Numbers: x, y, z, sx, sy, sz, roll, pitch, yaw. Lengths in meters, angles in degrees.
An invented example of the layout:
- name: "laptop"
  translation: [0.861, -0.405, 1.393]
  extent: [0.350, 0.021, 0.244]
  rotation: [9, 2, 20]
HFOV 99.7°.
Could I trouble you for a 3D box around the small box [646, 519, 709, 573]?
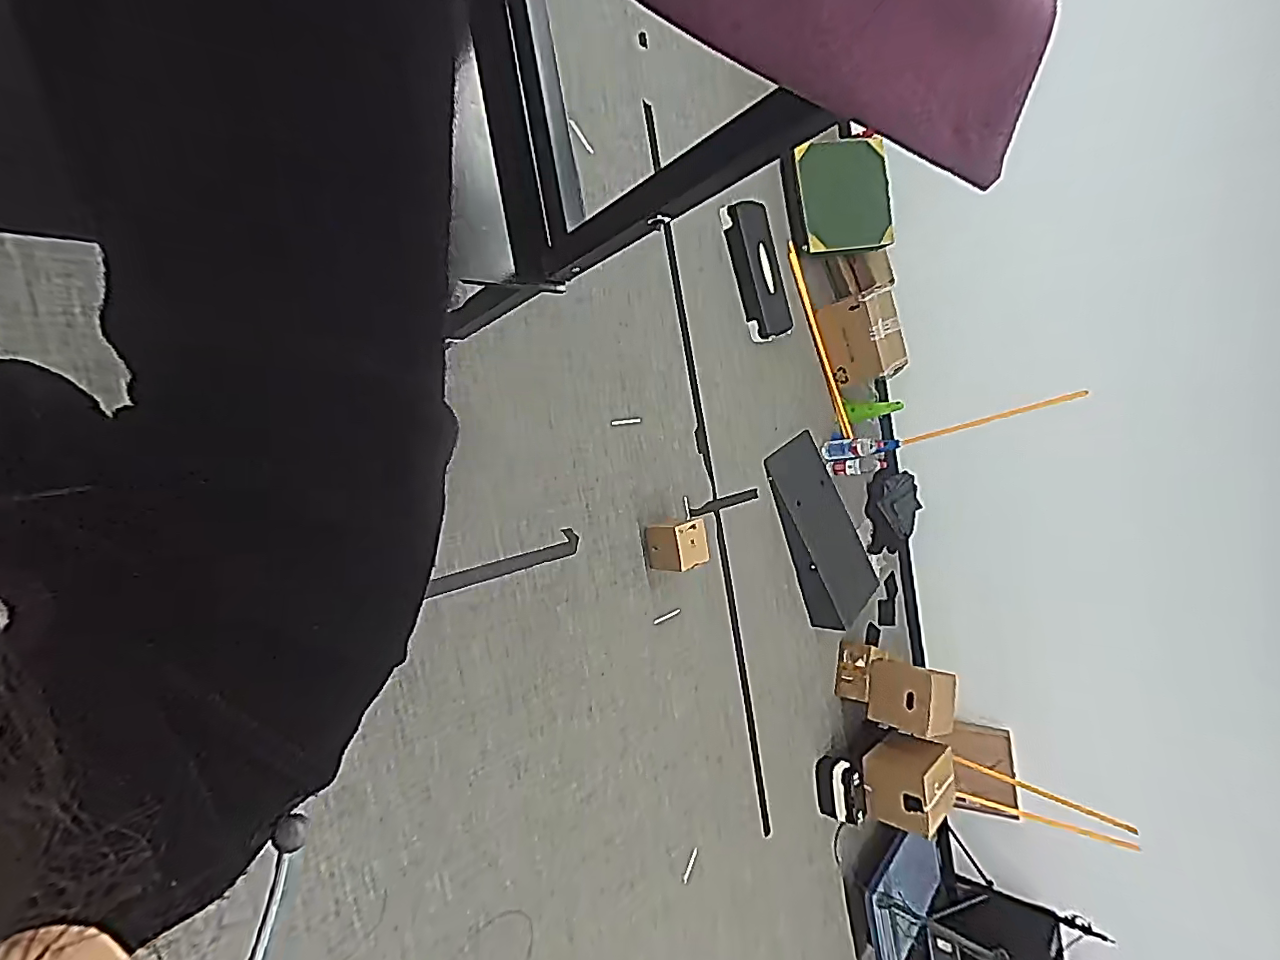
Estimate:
- name: "small box"
  translation: [0.144, 0.254, 2.121]
  extent: [0.168, 0.176, 0.179]
  rotation: [-13, 96, -43]
